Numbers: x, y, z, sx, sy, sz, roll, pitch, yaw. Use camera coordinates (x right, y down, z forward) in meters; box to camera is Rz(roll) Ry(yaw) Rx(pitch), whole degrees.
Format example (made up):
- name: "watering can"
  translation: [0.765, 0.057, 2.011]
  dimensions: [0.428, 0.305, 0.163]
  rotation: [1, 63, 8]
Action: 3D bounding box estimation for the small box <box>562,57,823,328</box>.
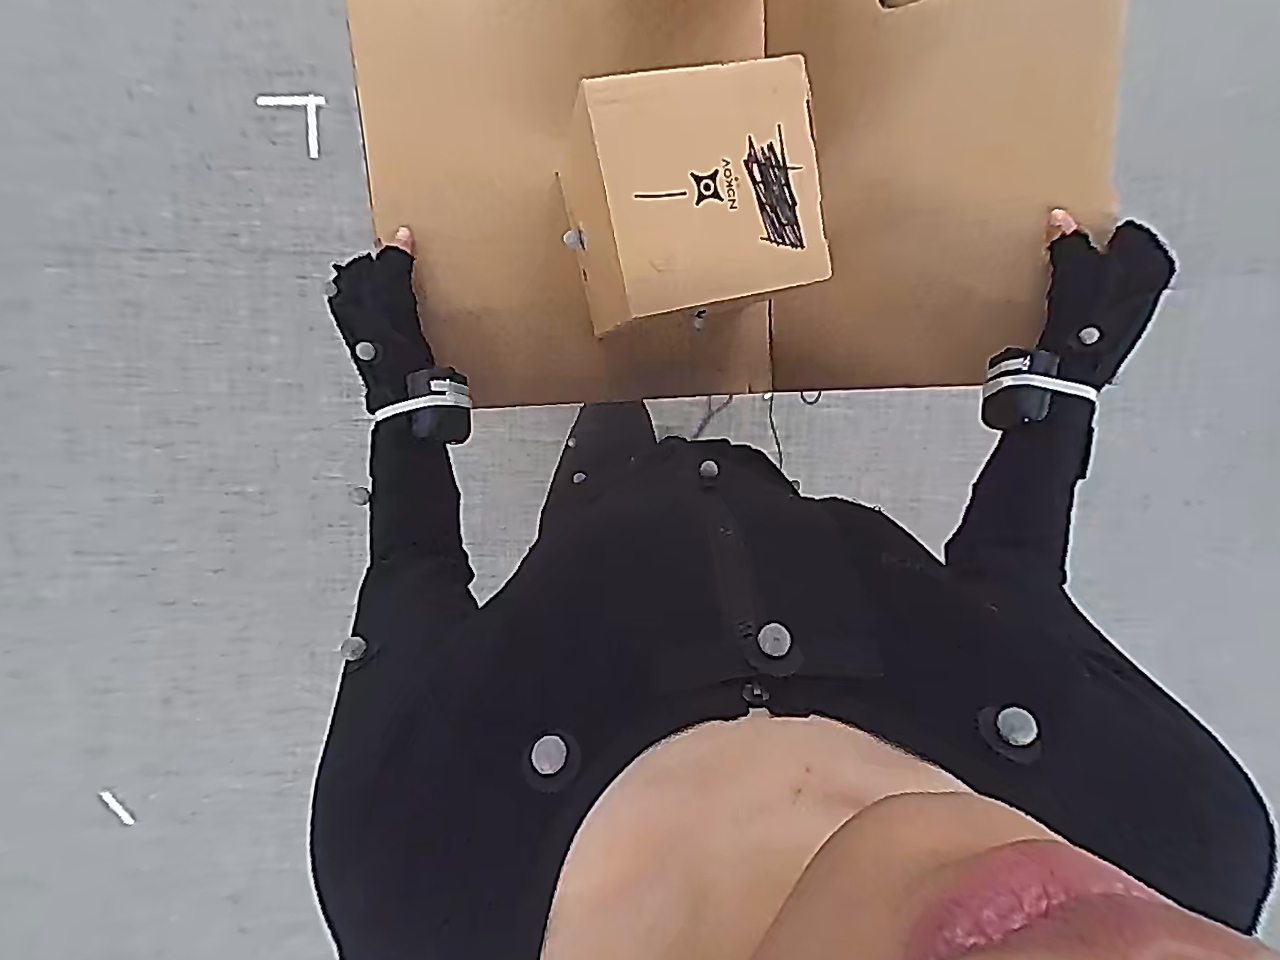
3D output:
- name: "small box"
  translation: [0.038, -0.243, 0.495]
  dimensions: [0.179, 0.176, 0.168]
  rotation: [-15, 102, -11]
